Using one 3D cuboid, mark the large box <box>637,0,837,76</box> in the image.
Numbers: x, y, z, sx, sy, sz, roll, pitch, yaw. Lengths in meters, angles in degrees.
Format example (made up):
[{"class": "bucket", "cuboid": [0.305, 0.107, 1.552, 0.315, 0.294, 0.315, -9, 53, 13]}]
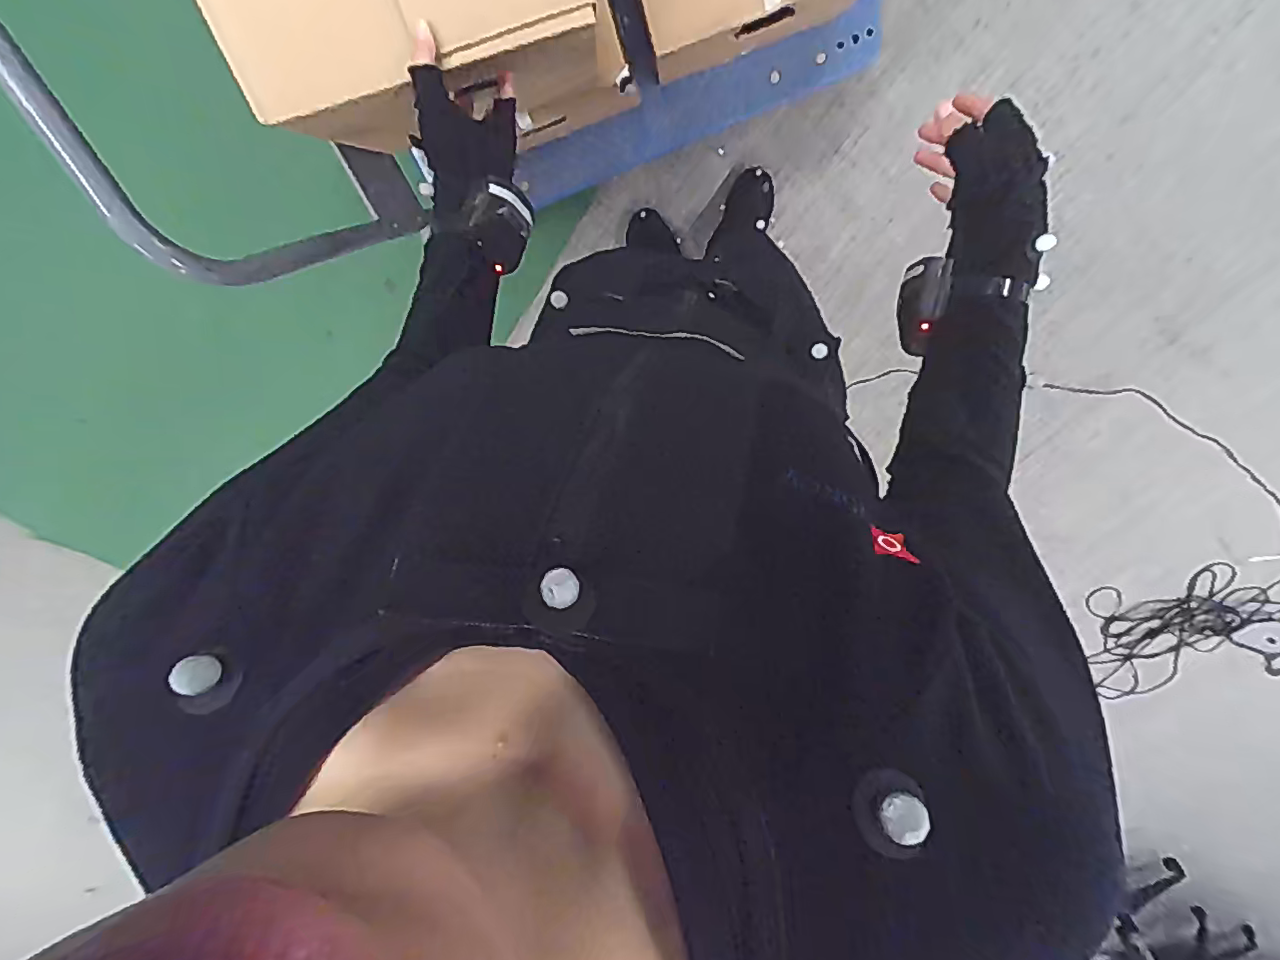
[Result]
[{"class": "large box", "cuboid": [0.109, -0.841, 0.715, 0.320, 0.320, 0.408, -14, 119, 11]}]
